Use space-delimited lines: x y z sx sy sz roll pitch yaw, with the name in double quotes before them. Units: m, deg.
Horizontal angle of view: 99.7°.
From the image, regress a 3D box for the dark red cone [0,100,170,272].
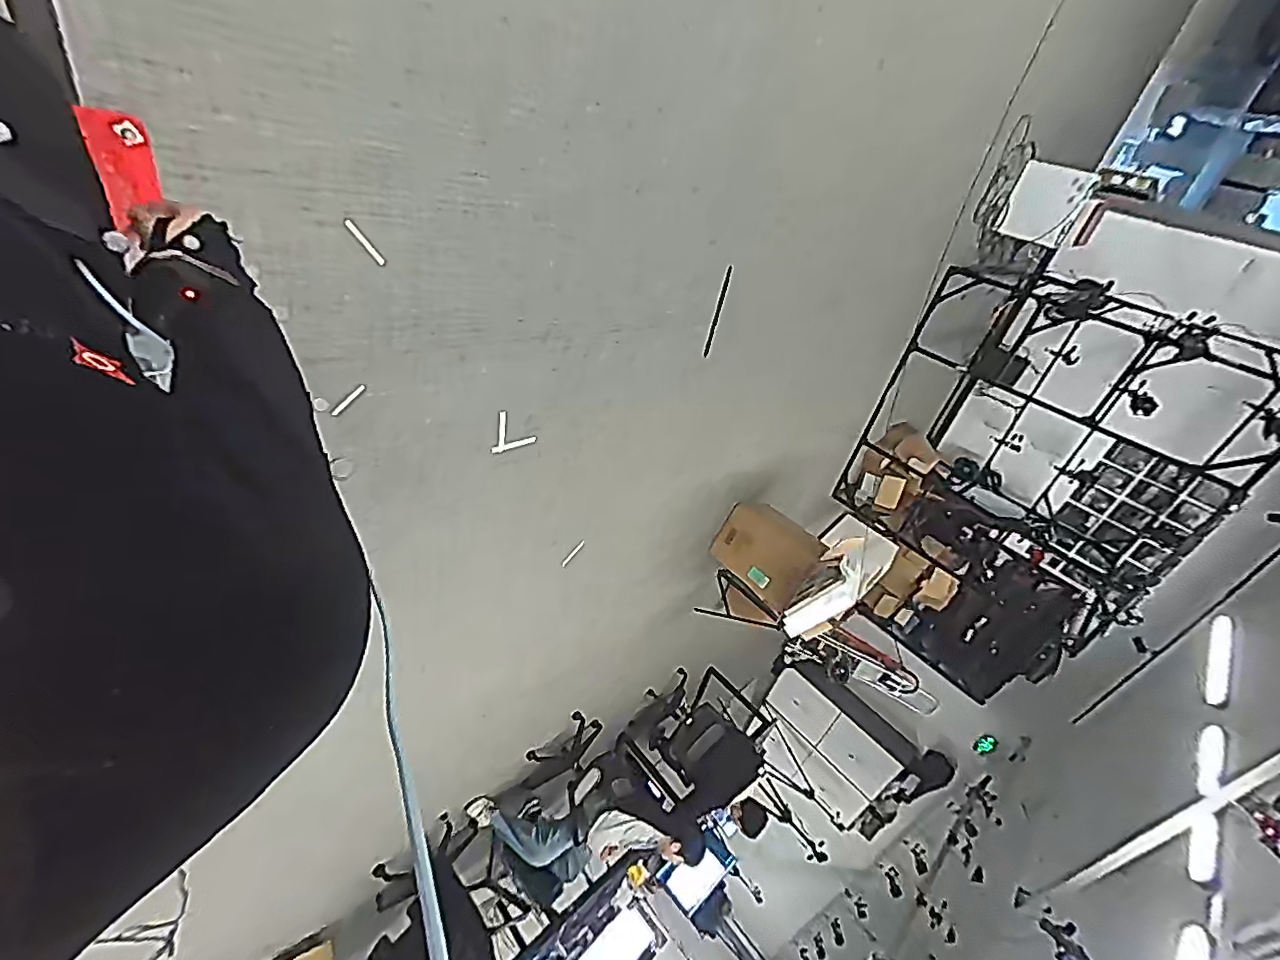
"dark red cone" -0.797 -0.391 0.781 0.201 0.394 0.202 -18 136 -40
